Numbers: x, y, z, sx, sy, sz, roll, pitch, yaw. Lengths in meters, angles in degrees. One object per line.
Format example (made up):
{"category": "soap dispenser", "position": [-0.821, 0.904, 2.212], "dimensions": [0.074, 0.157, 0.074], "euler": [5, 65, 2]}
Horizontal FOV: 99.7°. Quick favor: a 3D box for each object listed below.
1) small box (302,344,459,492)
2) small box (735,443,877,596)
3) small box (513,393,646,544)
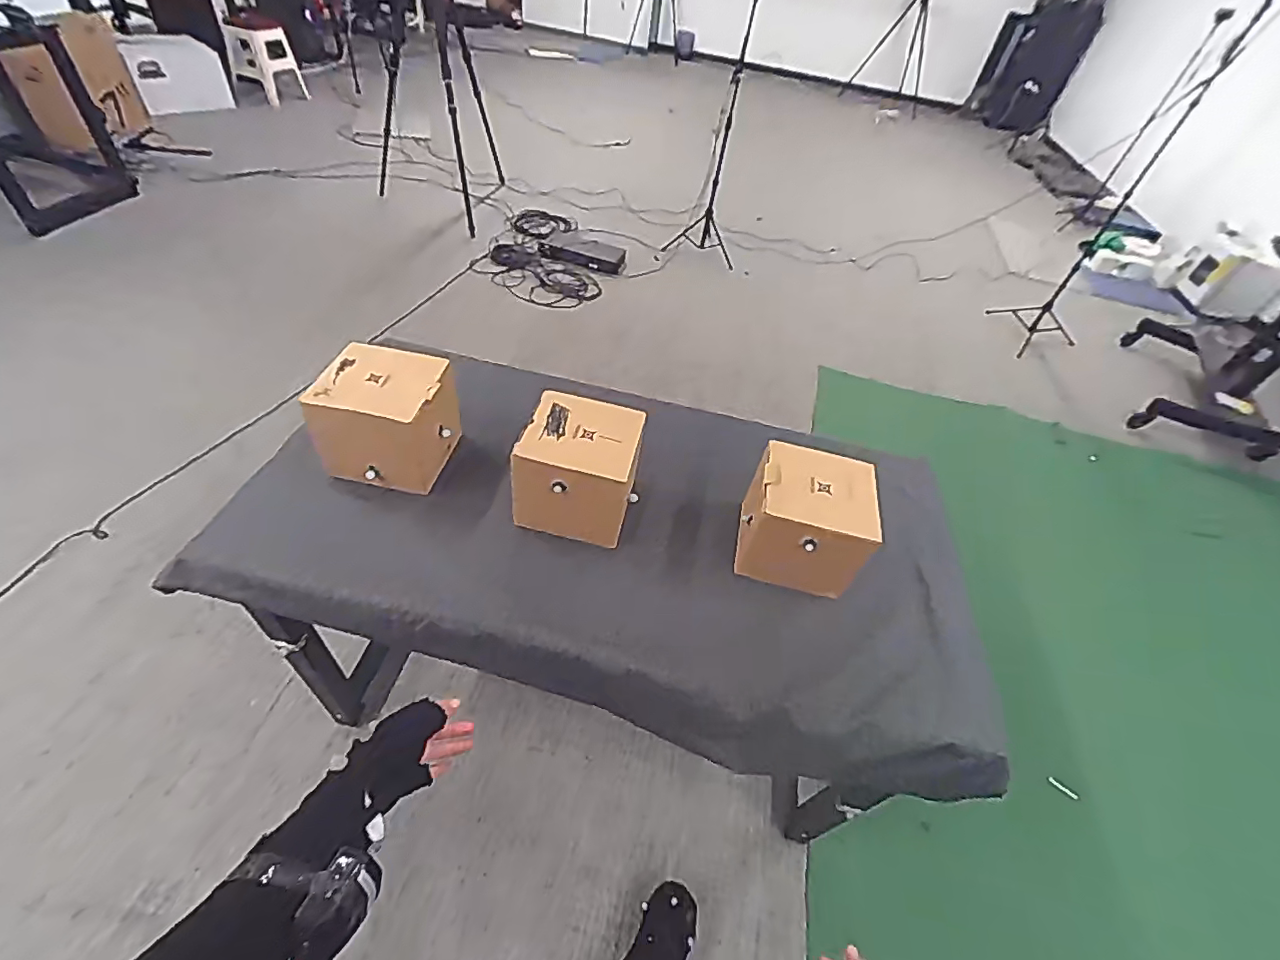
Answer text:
{"category": "small box", "position": [-0.422, -0.101, 0.920], "dimensions": [0.179, 0.176, 0.168], "euler": [12, 46, -1]}
{"category": "small box", "position": [0.265, 0.069, 0.894], "dimensions": [0.179, 0.176, 0.168], "euler": [15, 48, 2]}
{"category": "small box", "position": [-0.100, -0.016, 0.901], "dimensions": [0.179, 0.176, 0.168], "euler": [14, 47, 1]}
